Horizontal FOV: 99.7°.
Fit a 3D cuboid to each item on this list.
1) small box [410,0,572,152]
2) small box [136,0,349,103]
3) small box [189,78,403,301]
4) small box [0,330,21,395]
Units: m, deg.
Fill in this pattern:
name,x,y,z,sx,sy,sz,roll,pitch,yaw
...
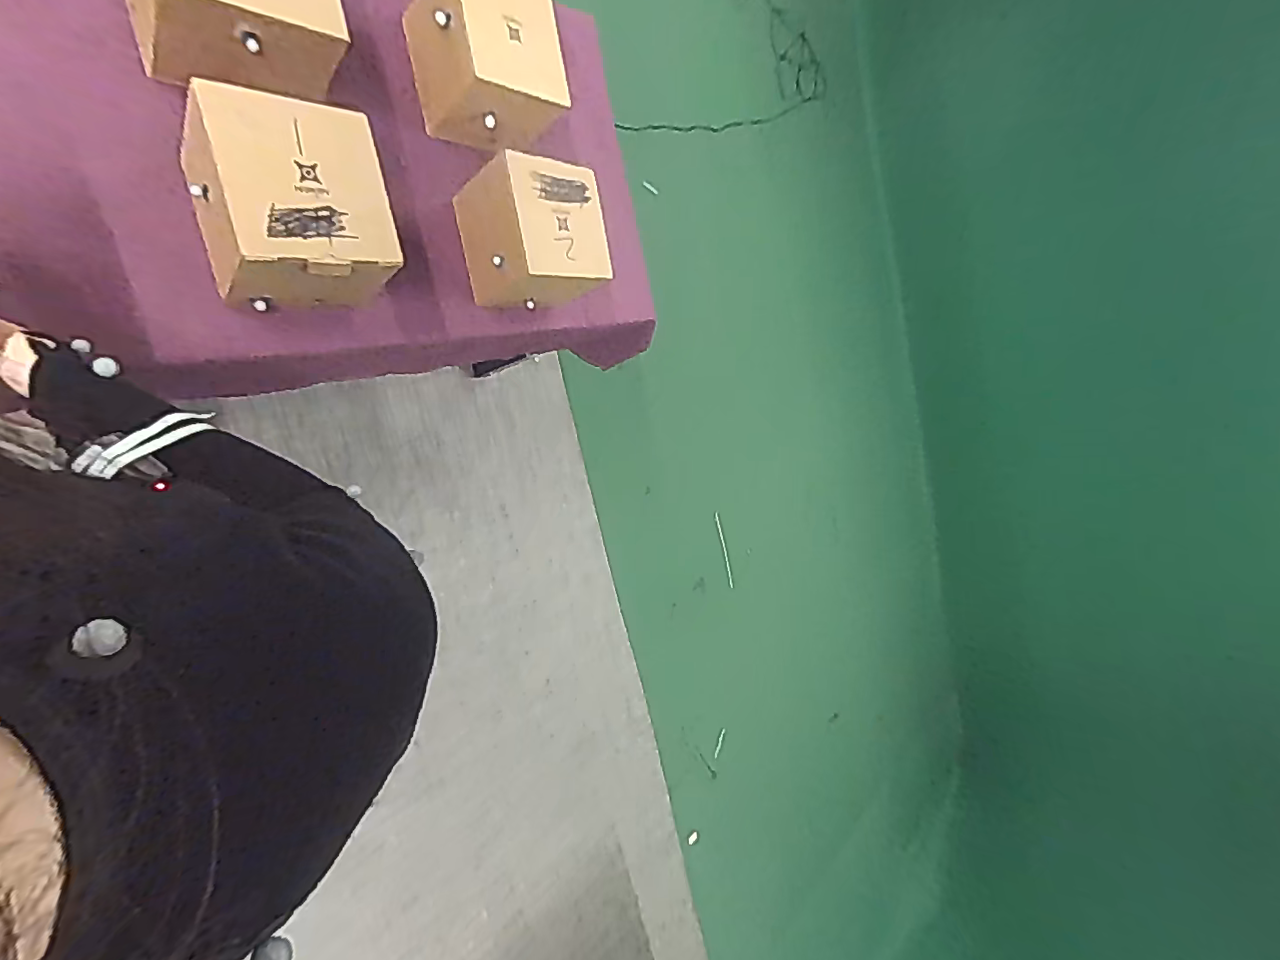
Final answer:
name,x,y,z,sx,sy,sz,roll,pitch,yaw
small box,-0.231,-0.642,0.832,0.168,0.176,0.179,-16,98,-41
small box,-0.463,-0.563,0.615,0.179,0.176,0.168,-17,99,-42
small box,-0.411,-0.321,0.645,0.168,0.176,0.179,-18,98,-42
small box,-0.605,-0.146,0.387,0.168,0.176,0.179,-25,105,-41
